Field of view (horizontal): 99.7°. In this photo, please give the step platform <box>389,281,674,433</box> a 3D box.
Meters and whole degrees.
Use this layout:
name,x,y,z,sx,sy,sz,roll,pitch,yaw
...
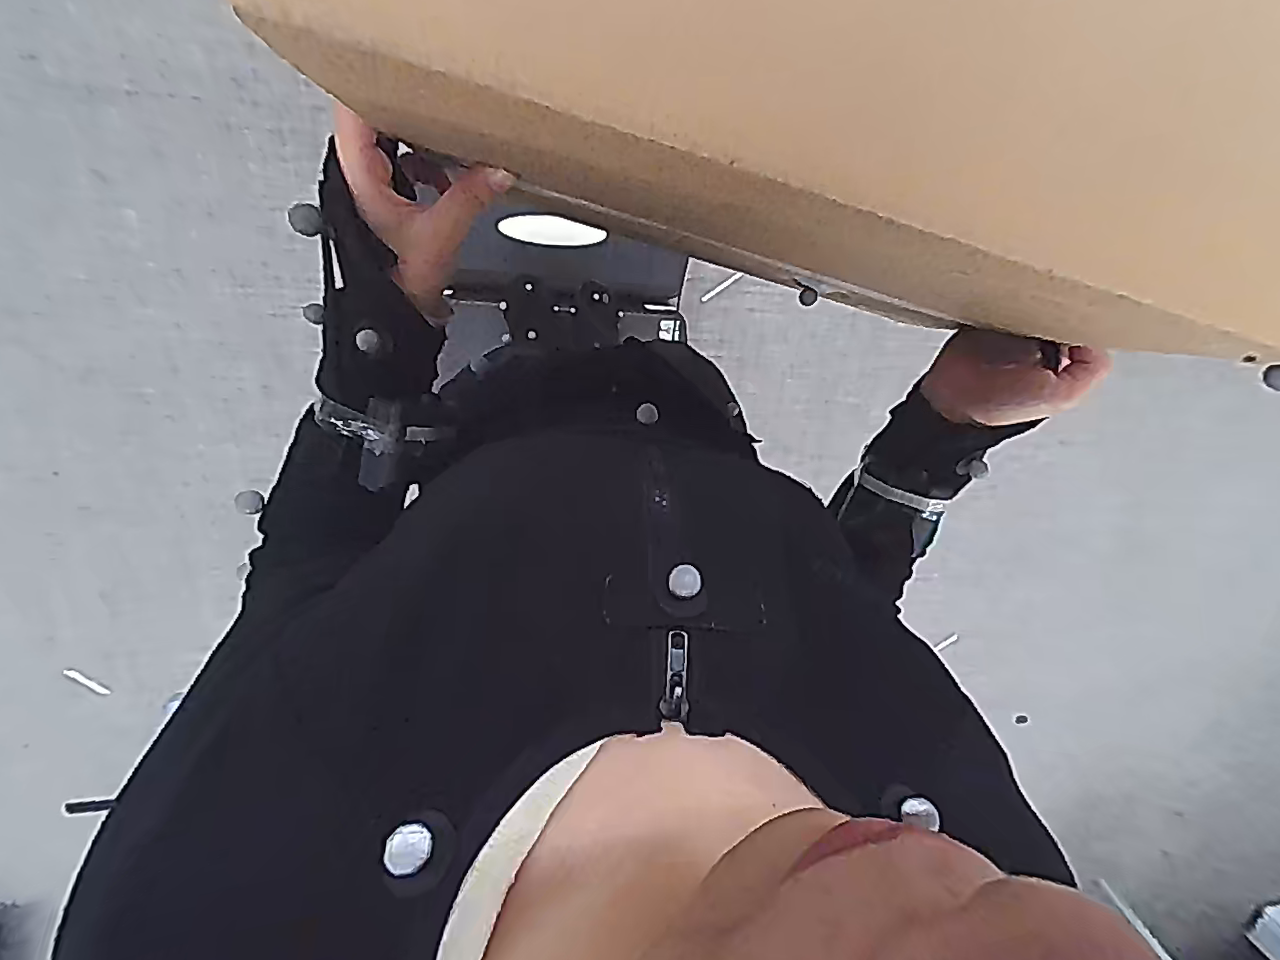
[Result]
name,x,y,z,sx,sy,sz,roll,pitch,yaw
step platform,-0.258,-0.304,1.364,0.684,0.204,0.286,6,112,-11

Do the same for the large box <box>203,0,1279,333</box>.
name,x,y,z,sx,sy,sz,roll,pitch,yaw
large box,0.088,-0.285,0.273,0.408,0.320,0.320,12,110,-8
